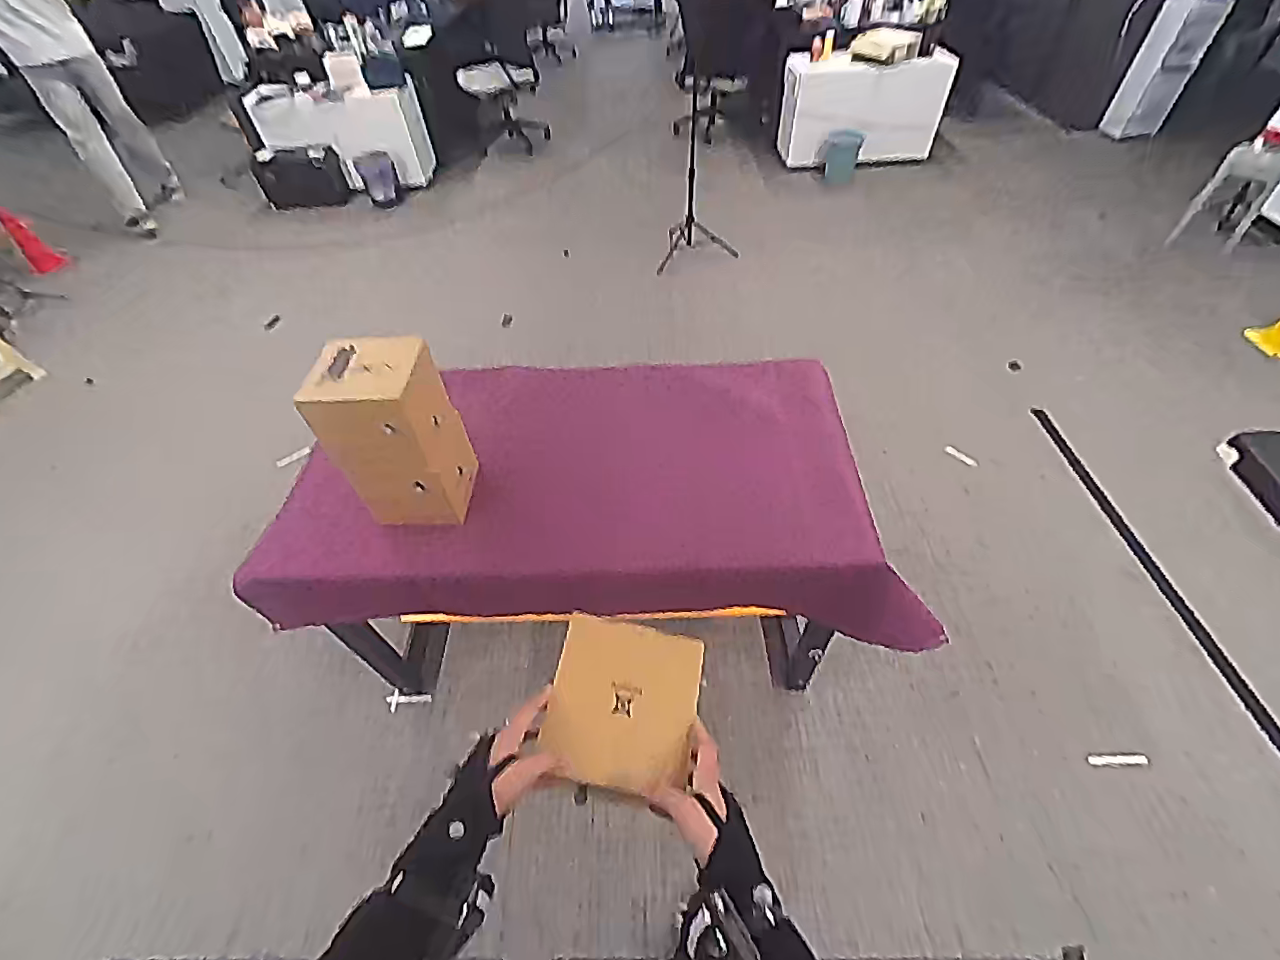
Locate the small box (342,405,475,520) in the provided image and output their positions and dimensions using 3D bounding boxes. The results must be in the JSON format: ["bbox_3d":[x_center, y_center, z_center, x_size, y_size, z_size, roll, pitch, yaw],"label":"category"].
[{"bbox_3d":[-0.447,-0.031,1.083,0.179,0.176,0.168,0,50,3],"label":"small box"}]

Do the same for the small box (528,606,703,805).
[{"bbox_3d":[-0.029,0.283,0.665,0.168,0.176,0.179,13,54,0],"label":"small box"}]
